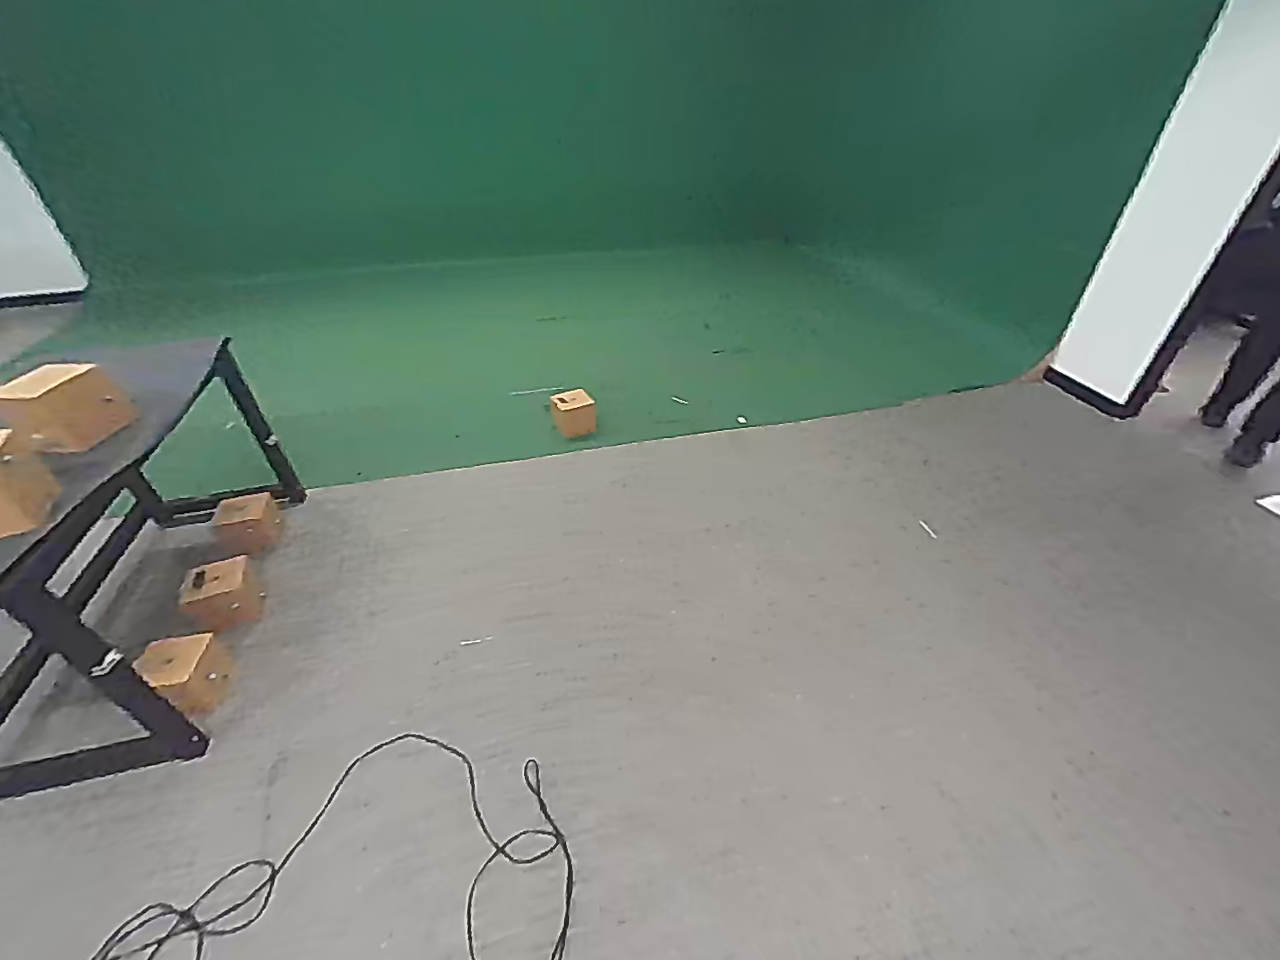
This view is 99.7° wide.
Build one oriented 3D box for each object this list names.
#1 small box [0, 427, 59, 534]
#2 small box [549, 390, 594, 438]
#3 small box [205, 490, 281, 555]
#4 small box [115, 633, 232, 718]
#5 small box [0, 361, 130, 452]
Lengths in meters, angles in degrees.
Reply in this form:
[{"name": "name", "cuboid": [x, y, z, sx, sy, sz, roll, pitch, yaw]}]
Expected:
[{"name": "small box", "cuboid": [-1.405, 0.016, 1.134, 0.179, 0.176, 0.168, -17, 41, -20]}, {"name": "small box", "cuboid": [-0.344, -0.331, 2.726, 0.179, 0.176, 0.168, -19, 42, -23]}, {"name": "small box", "cuboid": [-1.539, 0.167, 2.112, 0.179, 0.176, 0.168, -12, 39, -14]}, {"name": "small box", "cuboid": [-1.364, 0.579, 1.600, 0.179, 0.176, 0.168, -6, 39, -7]}, {"name": "small box", "cuboid": [-1.491, -0.193, 1.398, 0.168, 0.176, 0.179, 1, 40, 7]}]
